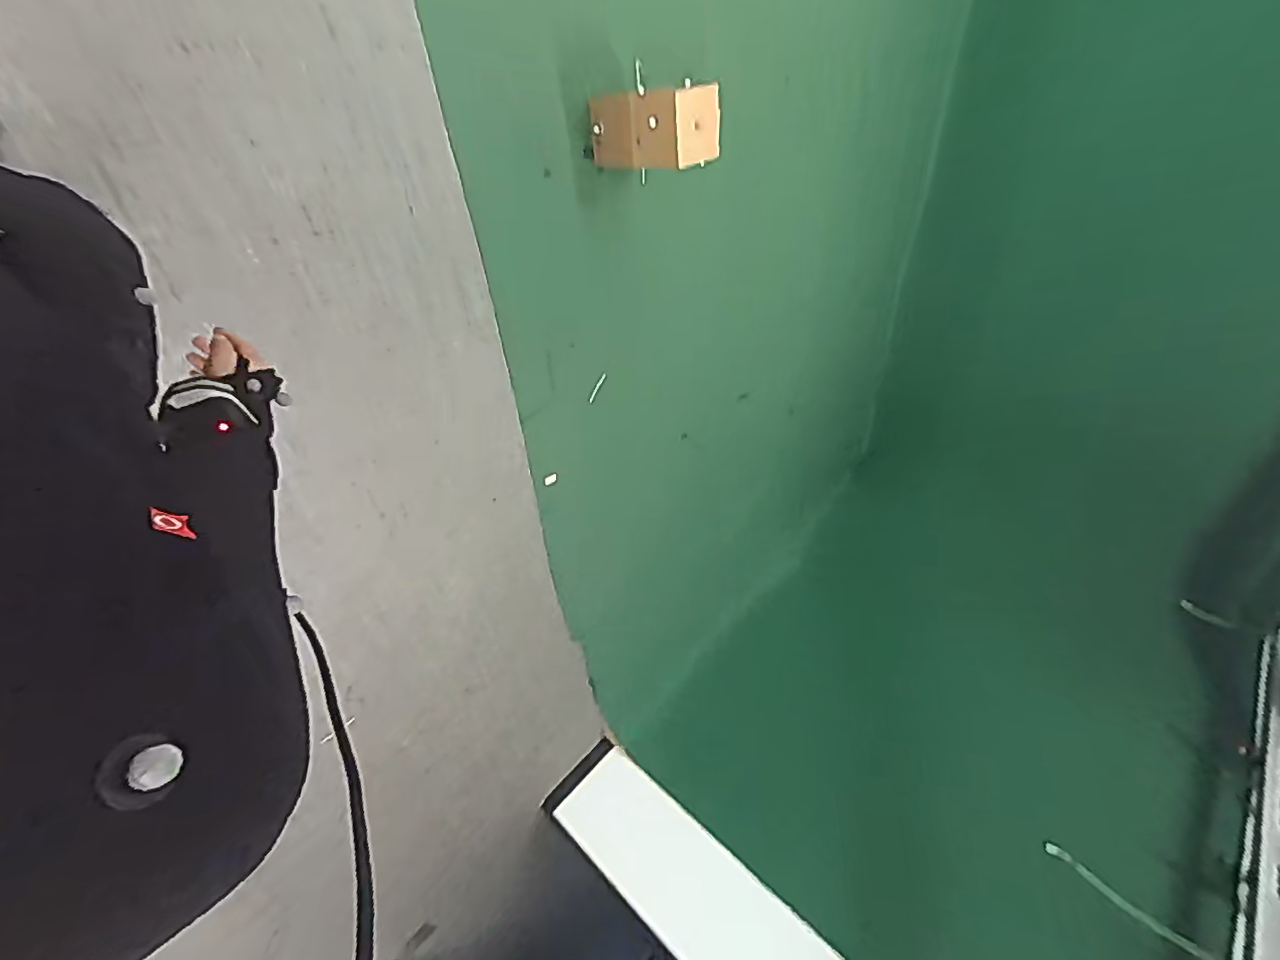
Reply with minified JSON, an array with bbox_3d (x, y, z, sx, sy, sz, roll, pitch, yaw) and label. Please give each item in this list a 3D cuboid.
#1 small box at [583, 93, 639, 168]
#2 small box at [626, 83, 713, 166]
[{"bbox_3d":[-0.038,-1.003,1.544,0.179,0.176,0.168,-35,136,-32],"label":"small box"},{"bbox_3d":[0.076,-0.946,1.443,0.179,0.176,0.168,-37,137,-33],"label":"small box"}]
